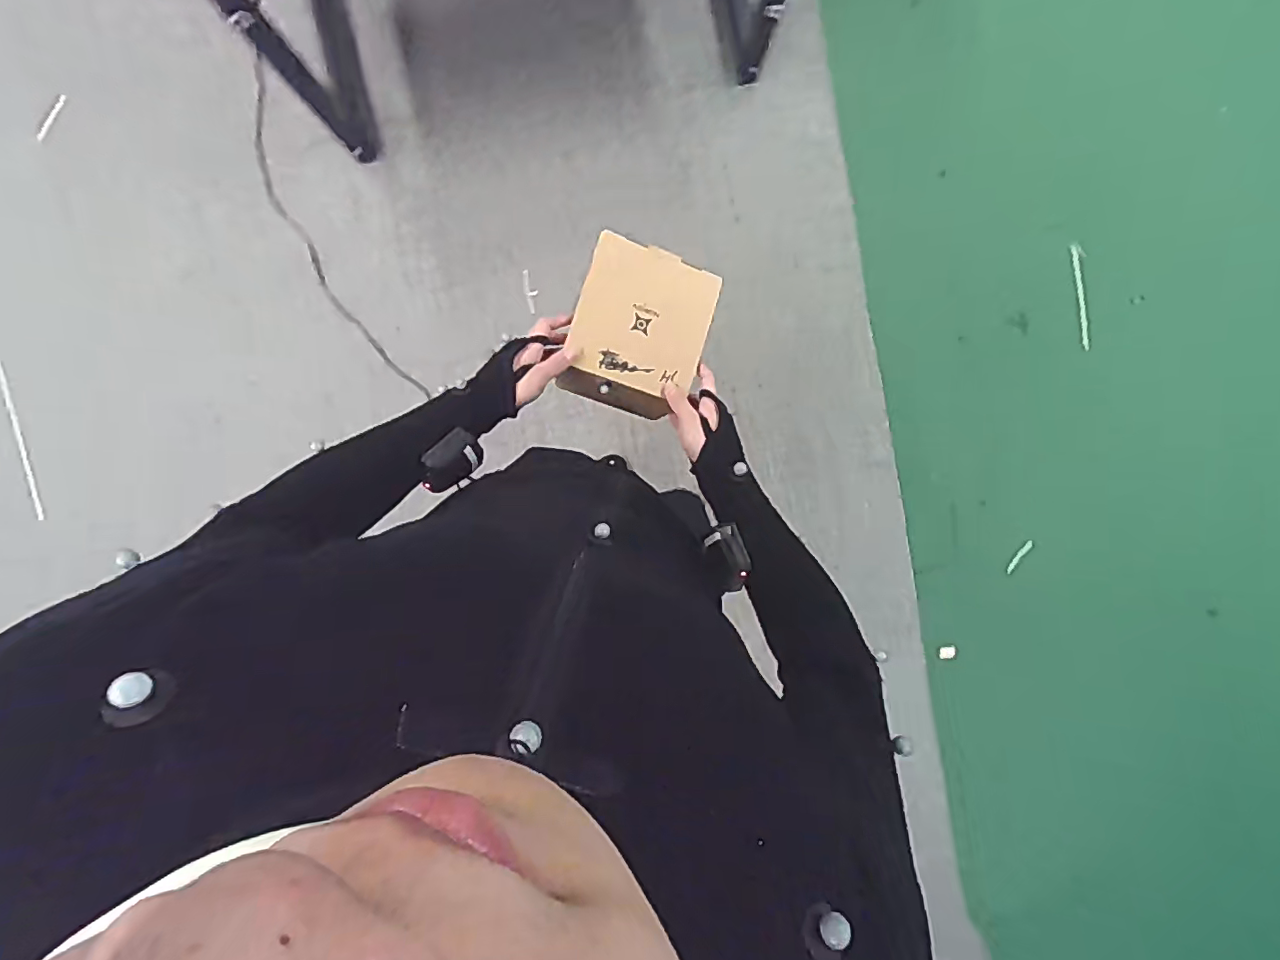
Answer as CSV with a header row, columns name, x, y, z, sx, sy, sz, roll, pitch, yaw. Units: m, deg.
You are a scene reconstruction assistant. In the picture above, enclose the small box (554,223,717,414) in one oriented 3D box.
name,x,y,z,sx,sy,sz,roll,pitch,yaw
small box,-0.017,-0.203,0.734,0.168,0.176,0.179,17,87,-10
